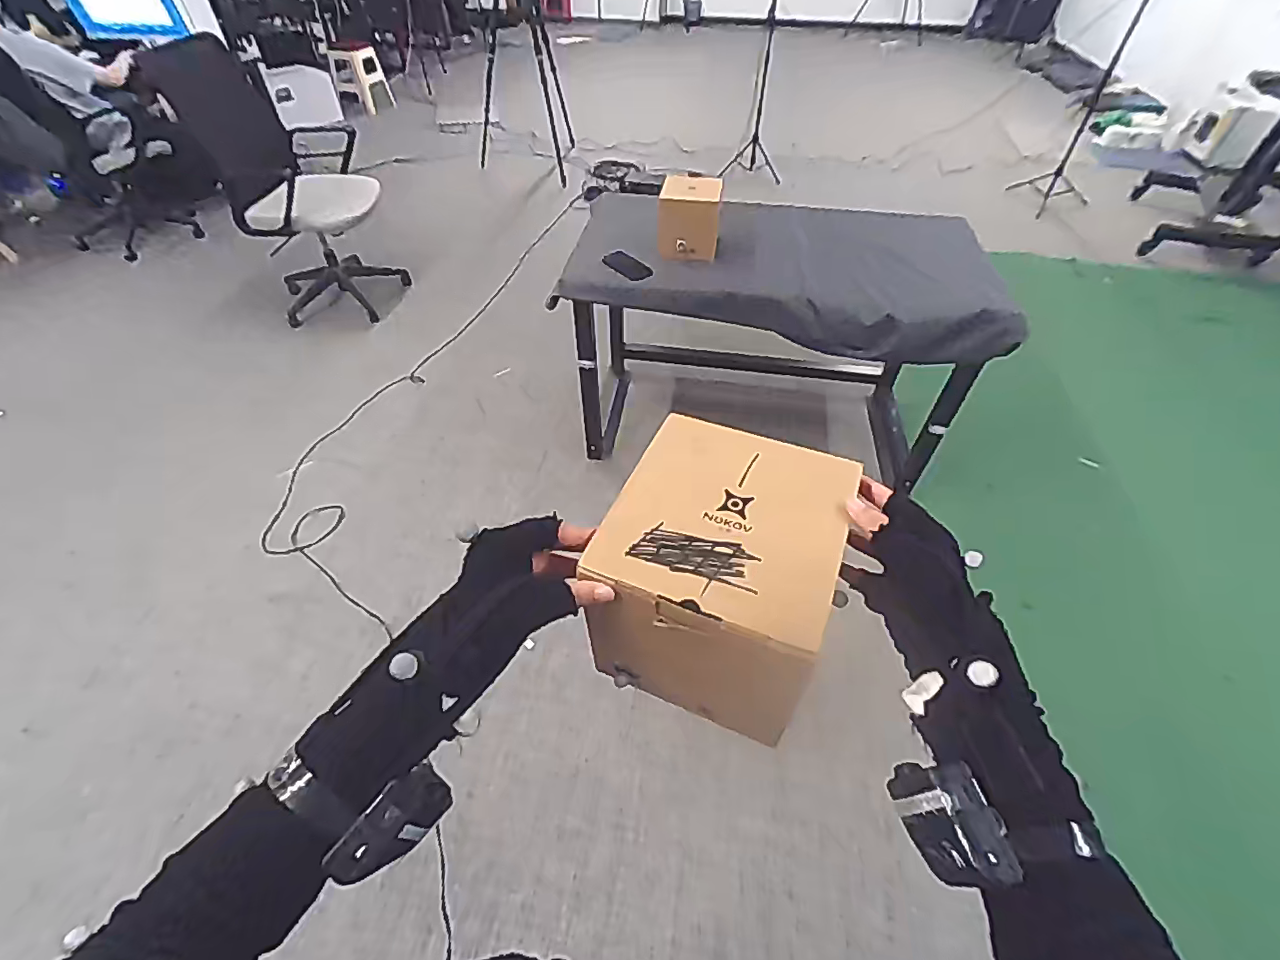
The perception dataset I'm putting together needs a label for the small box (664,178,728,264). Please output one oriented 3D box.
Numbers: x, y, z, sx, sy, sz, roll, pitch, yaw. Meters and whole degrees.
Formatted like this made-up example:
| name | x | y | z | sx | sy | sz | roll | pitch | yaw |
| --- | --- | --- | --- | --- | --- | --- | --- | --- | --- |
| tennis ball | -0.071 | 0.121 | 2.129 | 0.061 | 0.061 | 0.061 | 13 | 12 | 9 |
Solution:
| name | x | y | z | sx | sy | sz | roll | pitch | yaw |
| --- | --- | --- | --- | --- | --- | --- | --- | --- | --- |
| small box | 0.160 | -0.752 | 1.569 | 0.168 | 0.176 | 0.179 | 7 | 49 | 7 |
